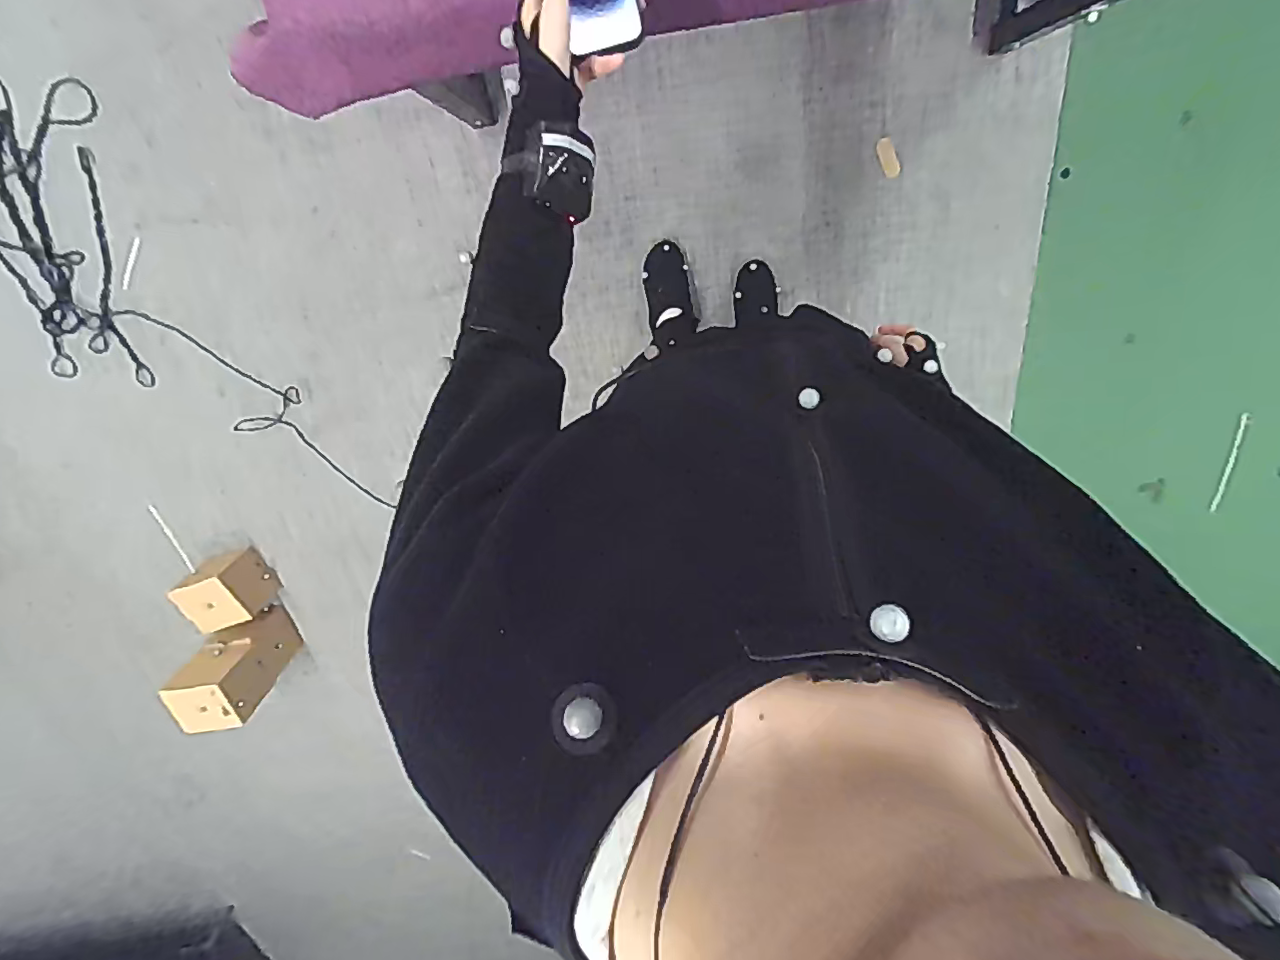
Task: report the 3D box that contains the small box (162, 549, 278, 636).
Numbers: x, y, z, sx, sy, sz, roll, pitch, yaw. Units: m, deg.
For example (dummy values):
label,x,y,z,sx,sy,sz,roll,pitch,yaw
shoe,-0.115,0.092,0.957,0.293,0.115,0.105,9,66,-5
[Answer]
label,x,y,z,sx,sy,sz,roll,pitch,yaw
small box,-1.246,0.333,1.620,0.179,0.176,0.168,-18,115,7

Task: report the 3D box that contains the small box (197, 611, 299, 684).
label,x,y,z,sx,sy,sz,roll,pitch,yaw
small box,-1.231,0.532,1.714,0.168,0.176,0.179,-8,116,4

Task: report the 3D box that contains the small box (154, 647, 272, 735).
label,x,y,z,sx,sy,sz,roll,pitch,yaw
small box,-1.227,0.607,1.568,0.179,0.176,0.168,-7,116,3
